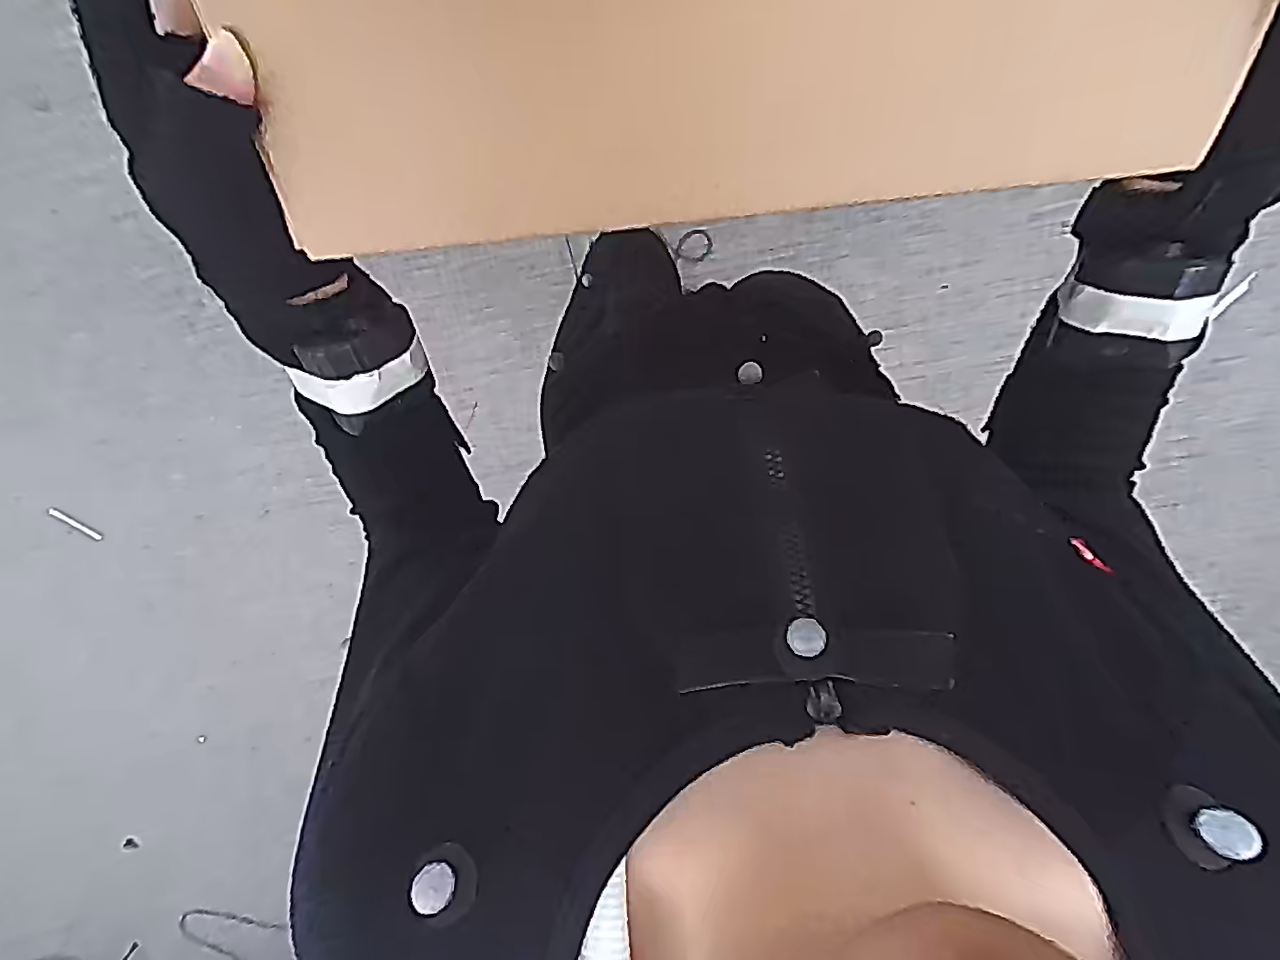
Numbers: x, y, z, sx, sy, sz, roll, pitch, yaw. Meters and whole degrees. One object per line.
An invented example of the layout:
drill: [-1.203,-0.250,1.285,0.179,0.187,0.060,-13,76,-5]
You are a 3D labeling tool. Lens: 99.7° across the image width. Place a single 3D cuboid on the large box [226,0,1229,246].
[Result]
large box: [0.025,-0.342,0.288,0.408,0.320,0.320,-5,126,1]
